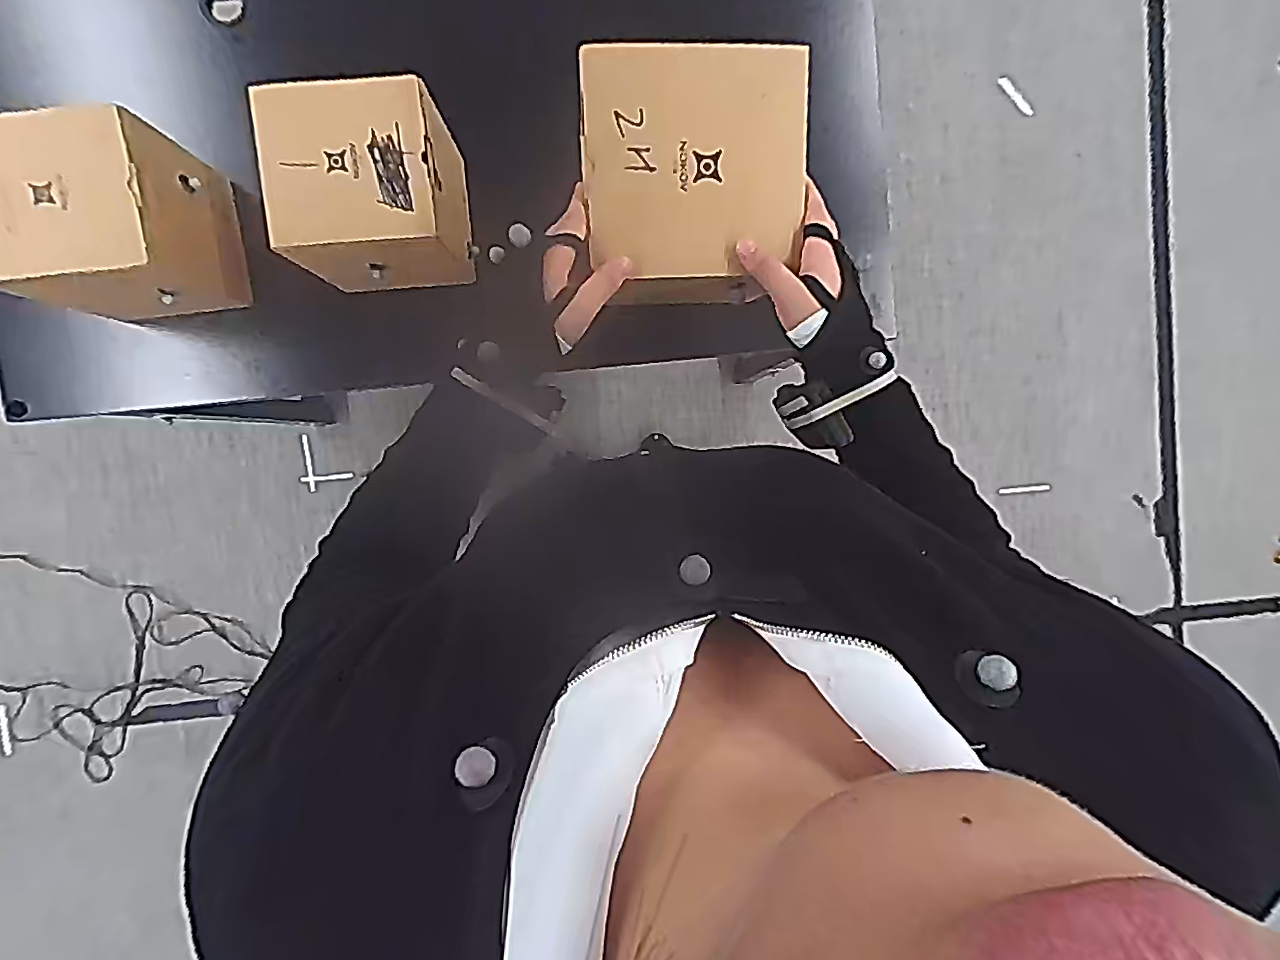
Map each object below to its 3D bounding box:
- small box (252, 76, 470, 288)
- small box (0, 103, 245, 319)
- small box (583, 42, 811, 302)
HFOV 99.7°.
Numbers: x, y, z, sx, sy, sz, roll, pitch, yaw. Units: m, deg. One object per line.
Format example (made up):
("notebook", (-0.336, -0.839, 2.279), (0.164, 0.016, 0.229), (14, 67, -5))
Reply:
("small box", (-0.311, -0.339, 0.645), (0.179, 0.176, 0.168), (-5, 94, -2))
("small box", (-0.603, -0.298, 0.632), (0.179, 0.176, 0.168), (-9, 93, -2))
("small box", (0.039, -0.260, 0.497), (0.179, 0.176, 0.168), (-2, 101, -3))
